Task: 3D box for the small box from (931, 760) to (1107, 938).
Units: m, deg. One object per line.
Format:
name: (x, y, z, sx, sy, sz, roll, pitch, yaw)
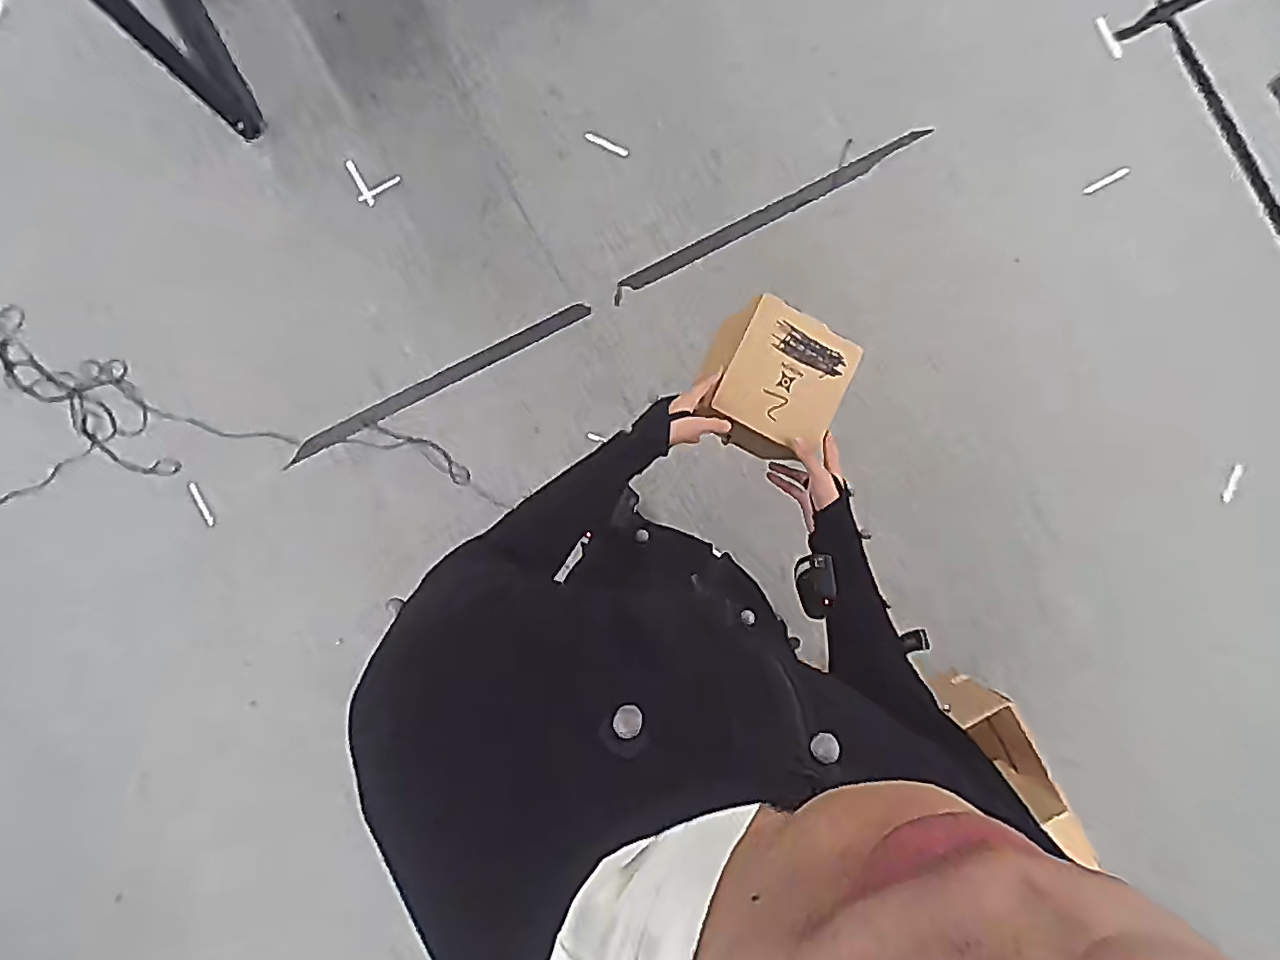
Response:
small box: (0.683, 0.664, 0.994, 0.168, 0.176, 0.179, -28, 92, -2)
